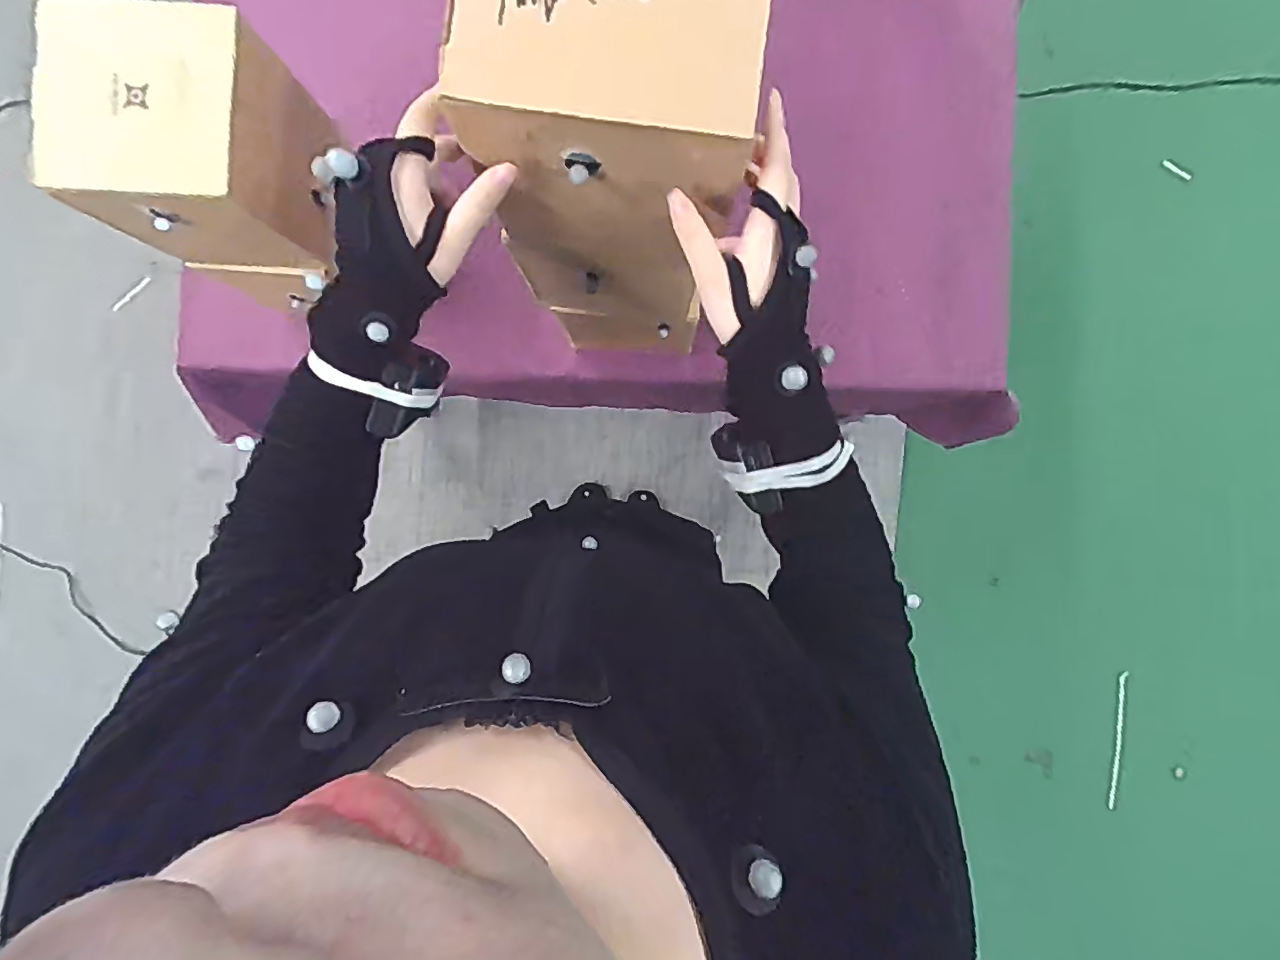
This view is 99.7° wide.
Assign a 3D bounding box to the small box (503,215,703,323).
[{"bbox_3d":[-0.019,-0.268,0.540,0.179,0.176,0.168,8,90,1],"label":"small box"}]

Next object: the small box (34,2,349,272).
[{"bbox_3d":[-0.430,-0.324,0.546,0.179,0.176,0.168,4,91,0],"label":"small box"}]

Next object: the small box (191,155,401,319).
[{"bbox_3d":[-0.434,-0.323,0.708,0.168,0.176,0.179,5,89,0],"label":"small box"}]

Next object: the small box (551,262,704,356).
[{"bbox_3d":[-0.010,-0.265,0.705,0.179,0.176,0.168,4,89,0],"label":"small box"}]

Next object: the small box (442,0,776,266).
[{"bbox_3d":[-0.011,-0.268,0.375,0.179,0.176,0.168,8,89,0],"label":"small box"}]
